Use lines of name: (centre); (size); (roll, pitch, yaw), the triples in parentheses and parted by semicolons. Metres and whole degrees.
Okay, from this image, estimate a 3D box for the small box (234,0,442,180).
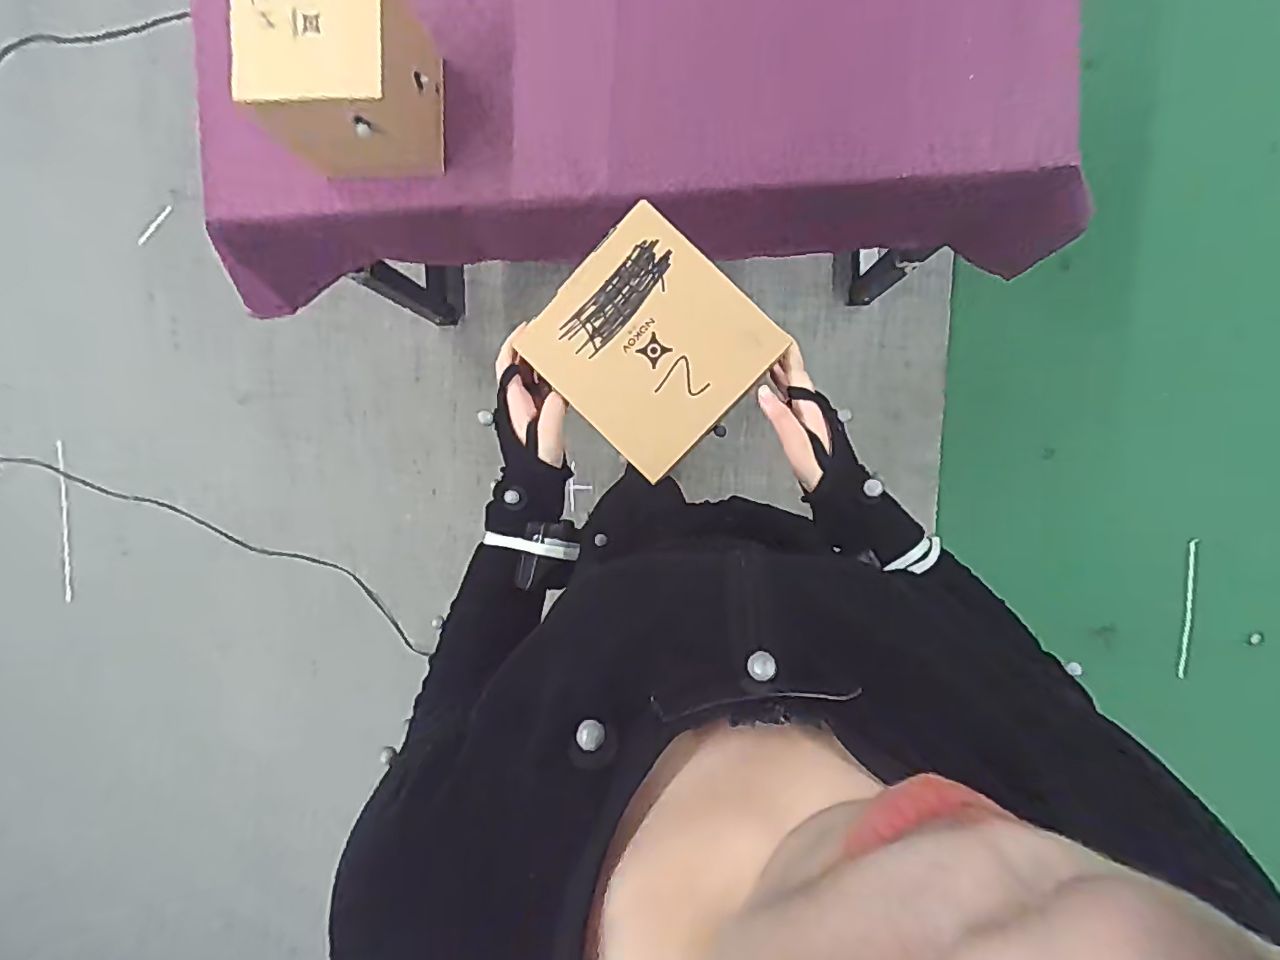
small box: (-0.365, -0.503, 0.683); (0.179, 0.176, 0.168); (1, 92, 4)
